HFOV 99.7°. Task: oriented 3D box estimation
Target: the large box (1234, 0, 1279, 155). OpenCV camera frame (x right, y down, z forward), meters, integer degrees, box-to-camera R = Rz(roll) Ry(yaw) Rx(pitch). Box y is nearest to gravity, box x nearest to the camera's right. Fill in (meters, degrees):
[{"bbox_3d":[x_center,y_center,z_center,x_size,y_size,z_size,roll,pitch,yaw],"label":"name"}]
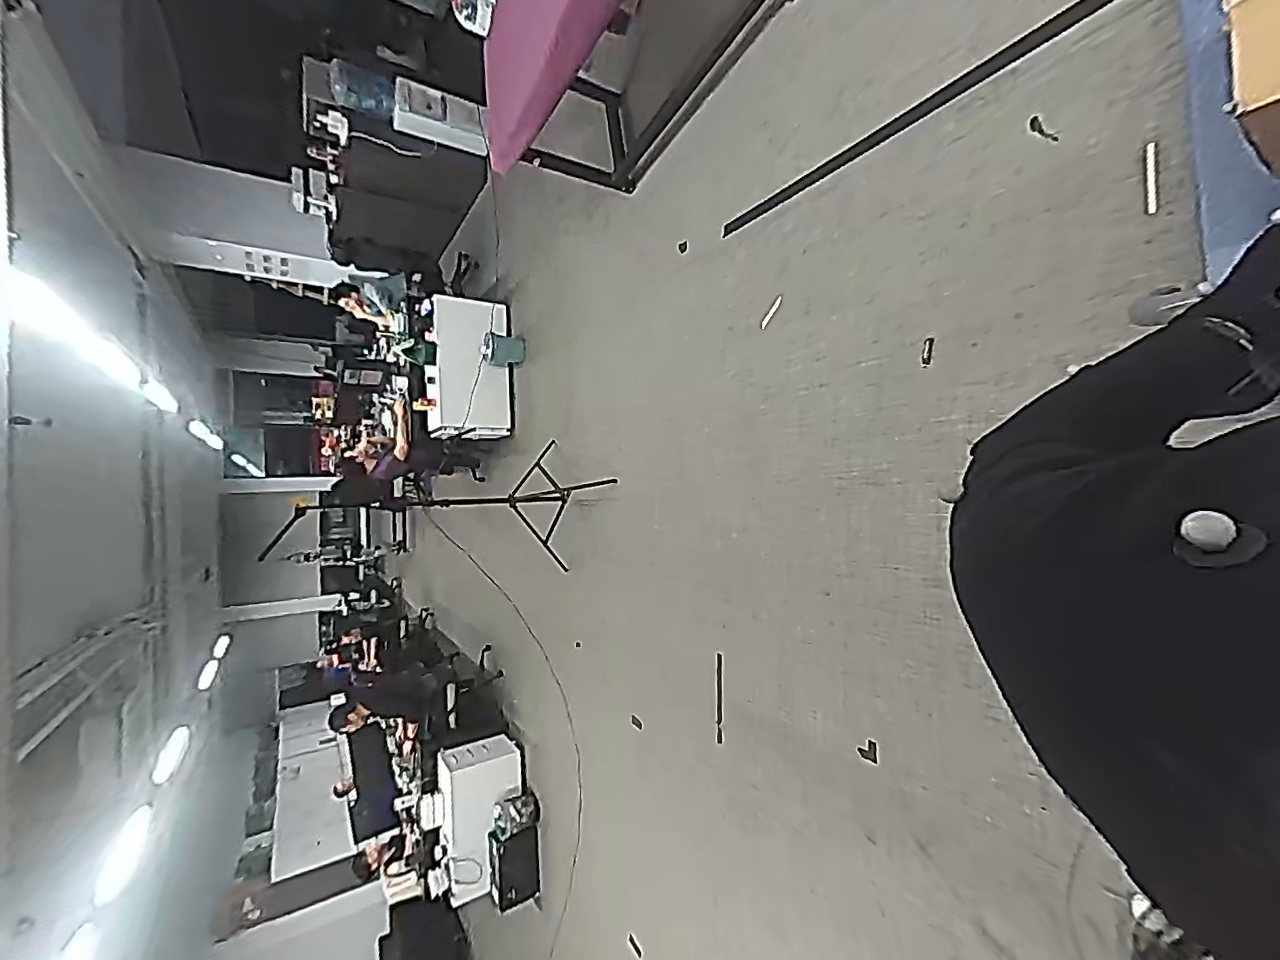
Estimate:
[{"bbox_3d":[1.035,-0.658,0.640,0.408,0.320,0.320,-4,87,58],"label":"large box"}]
